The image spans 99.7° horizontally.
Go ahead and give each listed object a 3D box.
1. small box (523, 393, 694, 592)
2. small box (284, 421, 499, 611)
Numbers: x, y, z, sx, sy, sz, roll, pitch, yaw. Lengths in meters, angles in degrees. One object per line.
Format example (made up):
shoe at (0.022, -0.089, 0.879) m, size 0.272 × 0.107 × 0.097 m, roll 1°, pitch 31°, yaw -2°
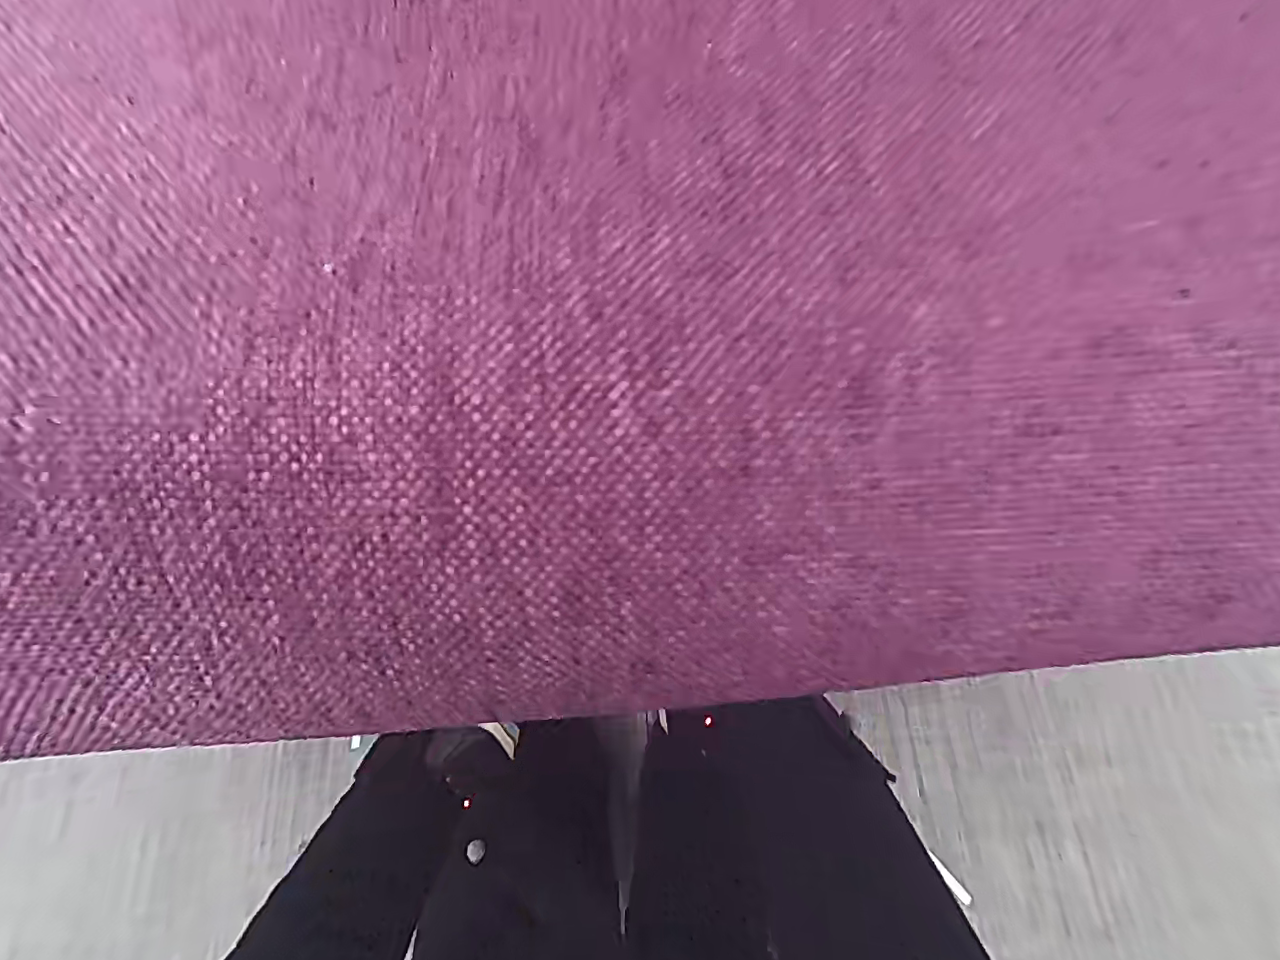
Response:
small box at (-0.033, 0.025, 0.611) m, size 0.168 × 0.176 × 0.179 m, roll -4°, pitch 65°, yaw -2°
small box at (-0.266, 0.050, 0.617) m, size 0.179 × 0.176 × 0.168 m, roll -10°, pitch 73°, yaw -3°
